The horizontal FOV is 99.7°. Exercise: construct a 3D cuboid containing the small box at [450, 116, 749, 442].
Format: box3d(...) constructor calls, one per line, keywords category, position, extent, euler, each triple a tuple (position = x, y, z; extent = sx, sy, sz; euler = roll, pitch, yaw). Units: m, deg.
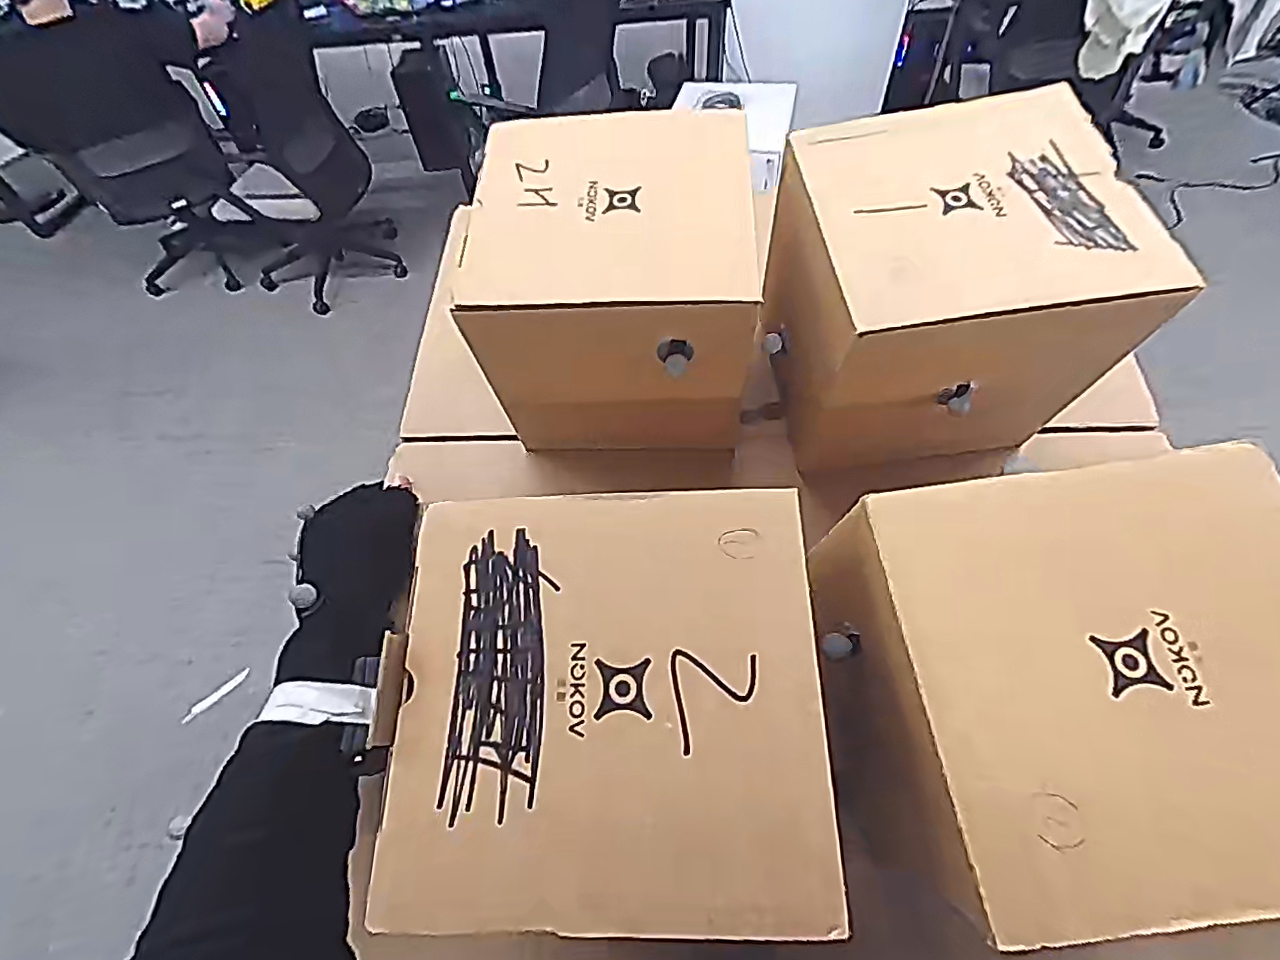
box3d(category="small box", position=(-0.015, -0.139, 0.414), extent=(0.179, 0.176, 0.168), euler=(1, 65, 6))
